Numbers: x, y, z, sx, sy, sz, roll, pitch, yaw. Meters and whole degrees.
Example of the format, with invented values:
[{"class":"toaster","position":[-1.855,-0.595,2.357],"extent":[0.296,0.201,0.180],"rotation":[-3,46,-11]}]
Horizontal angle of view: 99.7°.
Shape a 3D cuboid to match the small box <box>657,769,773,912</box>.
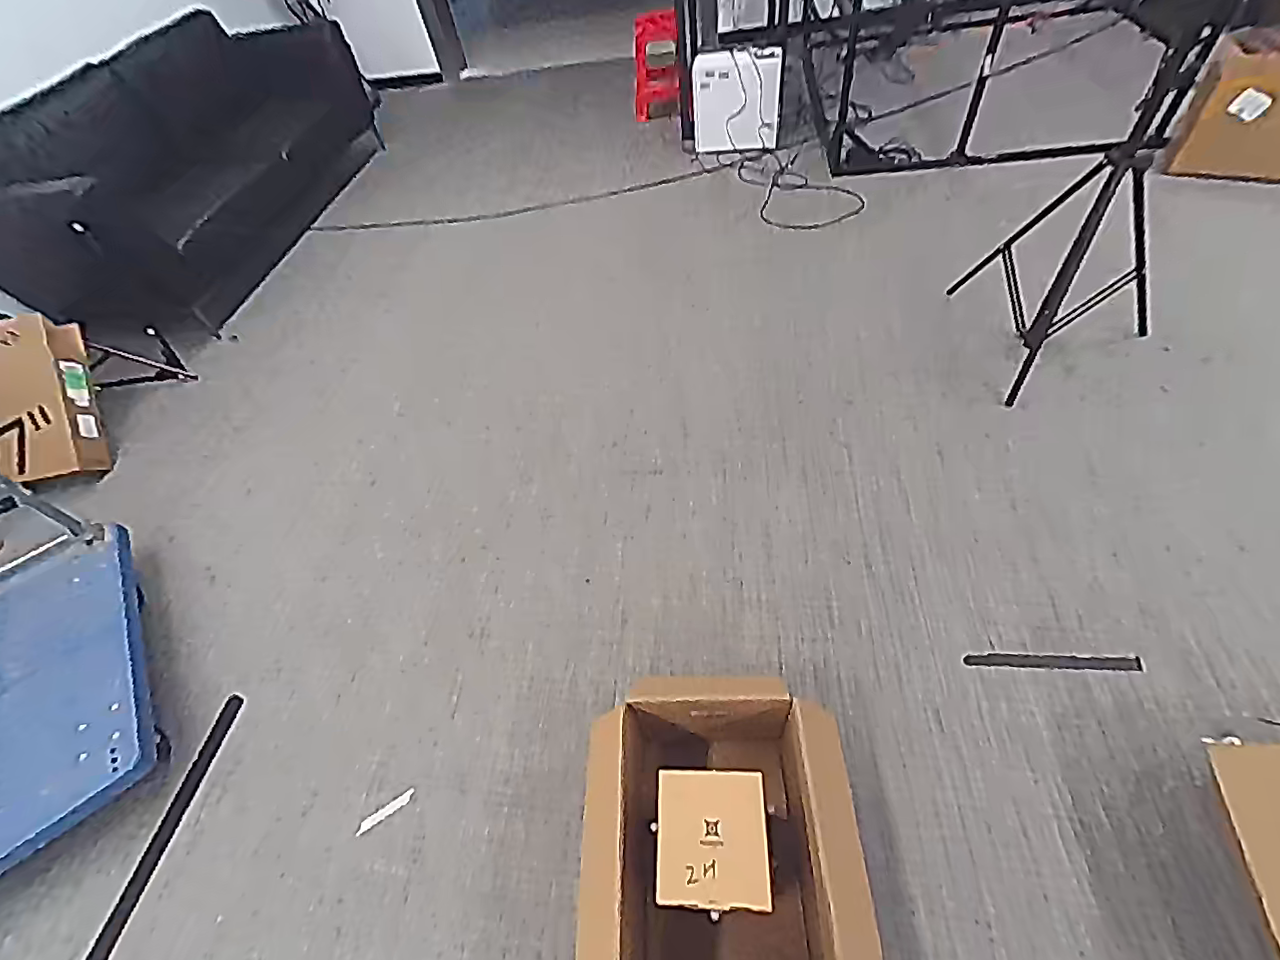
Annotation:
[{"class":"small box","position":[0.120,0.586,0.880],"extent":[0.168,0.176,0.179],"rotation":[-3,52,8]}]
